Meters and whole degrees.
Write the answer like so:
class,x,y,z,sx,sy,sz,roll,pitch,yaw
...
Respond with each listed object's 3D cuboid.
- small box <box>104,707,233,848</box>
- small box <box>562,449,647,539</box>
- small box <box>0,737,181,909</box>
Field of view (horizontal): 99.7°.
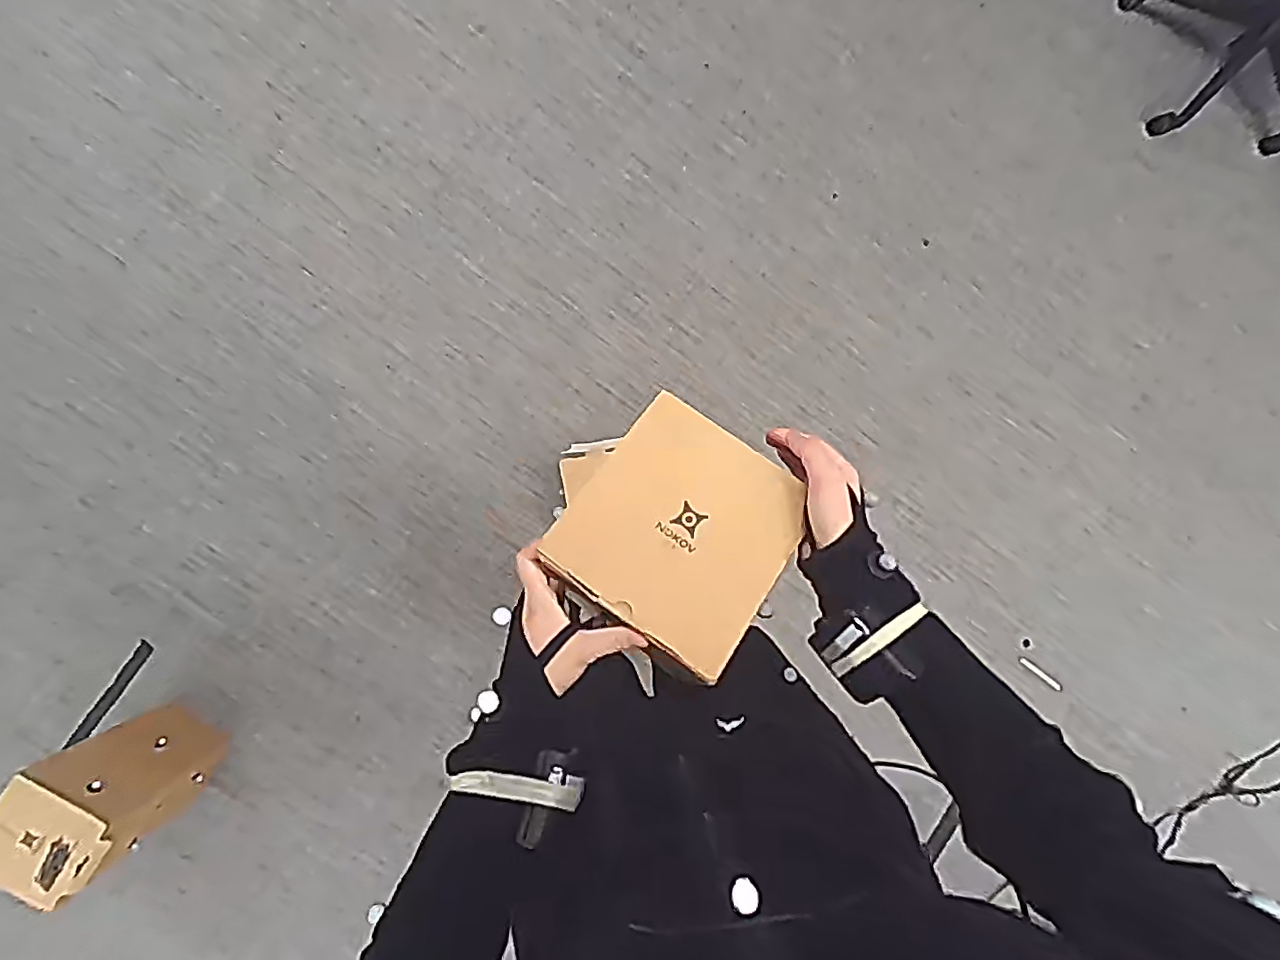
class,x,y,z,sx,sy,sz,roll,pitch,yaw
small box,-1.019,0.611,1.137,0.179,0.176,0.168,31,85,-3
small box,-0.087,0.033,1.254,0.168,0.176,0.179,-10,89,-7
small box,-0.999,0.601,0.973,0.179,0.176,0.168,32,85,-4
